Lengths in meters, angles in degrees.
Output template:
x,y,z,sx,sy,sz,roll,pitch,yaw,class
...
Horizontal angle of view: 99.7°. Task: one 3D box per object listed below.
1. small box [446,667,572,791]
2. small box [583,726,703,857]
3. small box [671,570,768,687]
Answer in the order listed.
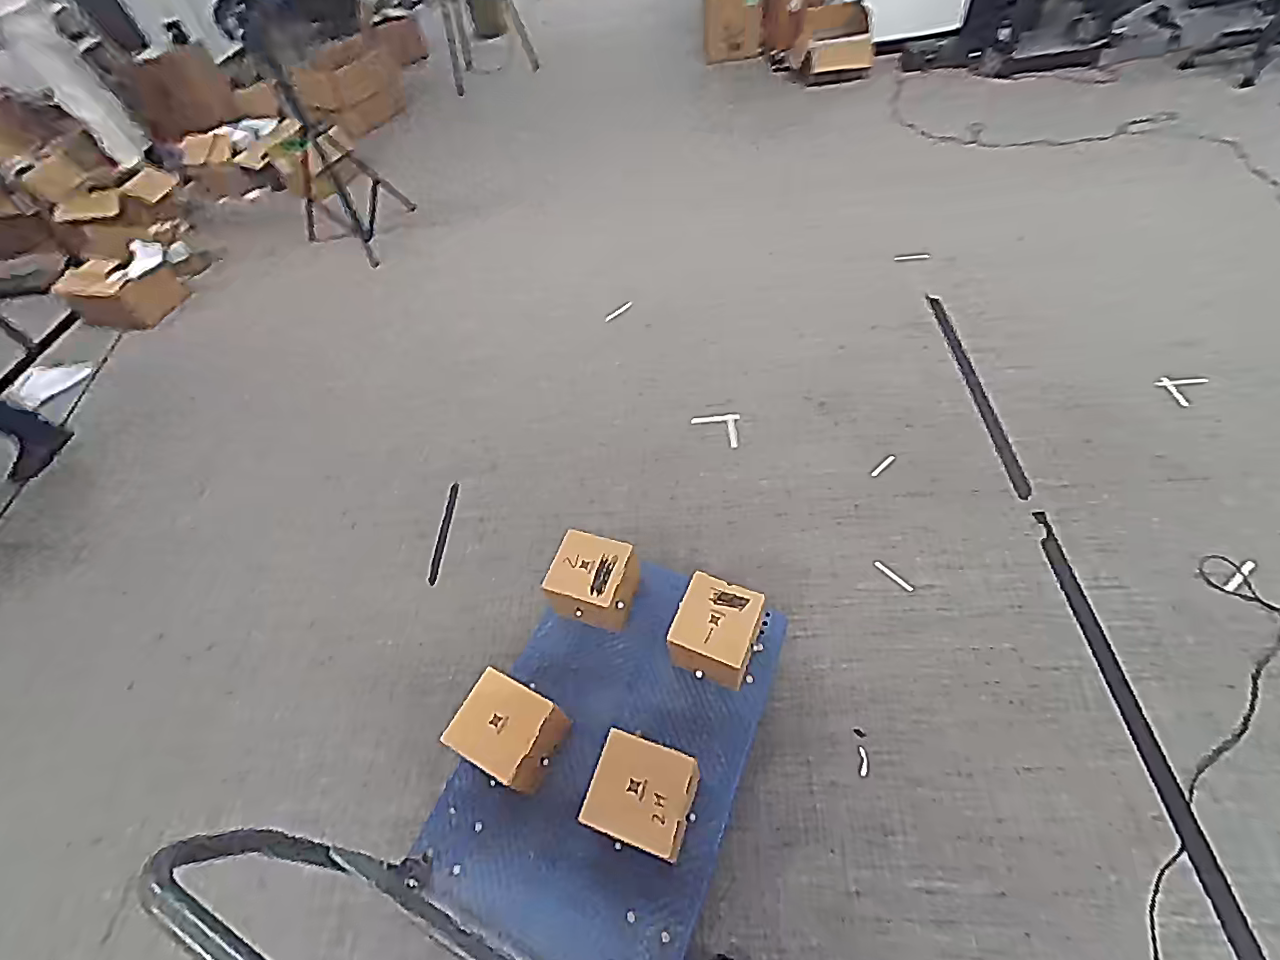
x,y,z,sx,sy,sz,roll,pitch,yaw,class
-0.268,0.533,1.148,0.179,0.176,0.168,20,58,20,small box
0.015,0.607,1.046,0.179,0.176,0.168,13,56,18,small box
0.180,0.339,1.224,0.168,0.176,0.179,17,59,20,small box
